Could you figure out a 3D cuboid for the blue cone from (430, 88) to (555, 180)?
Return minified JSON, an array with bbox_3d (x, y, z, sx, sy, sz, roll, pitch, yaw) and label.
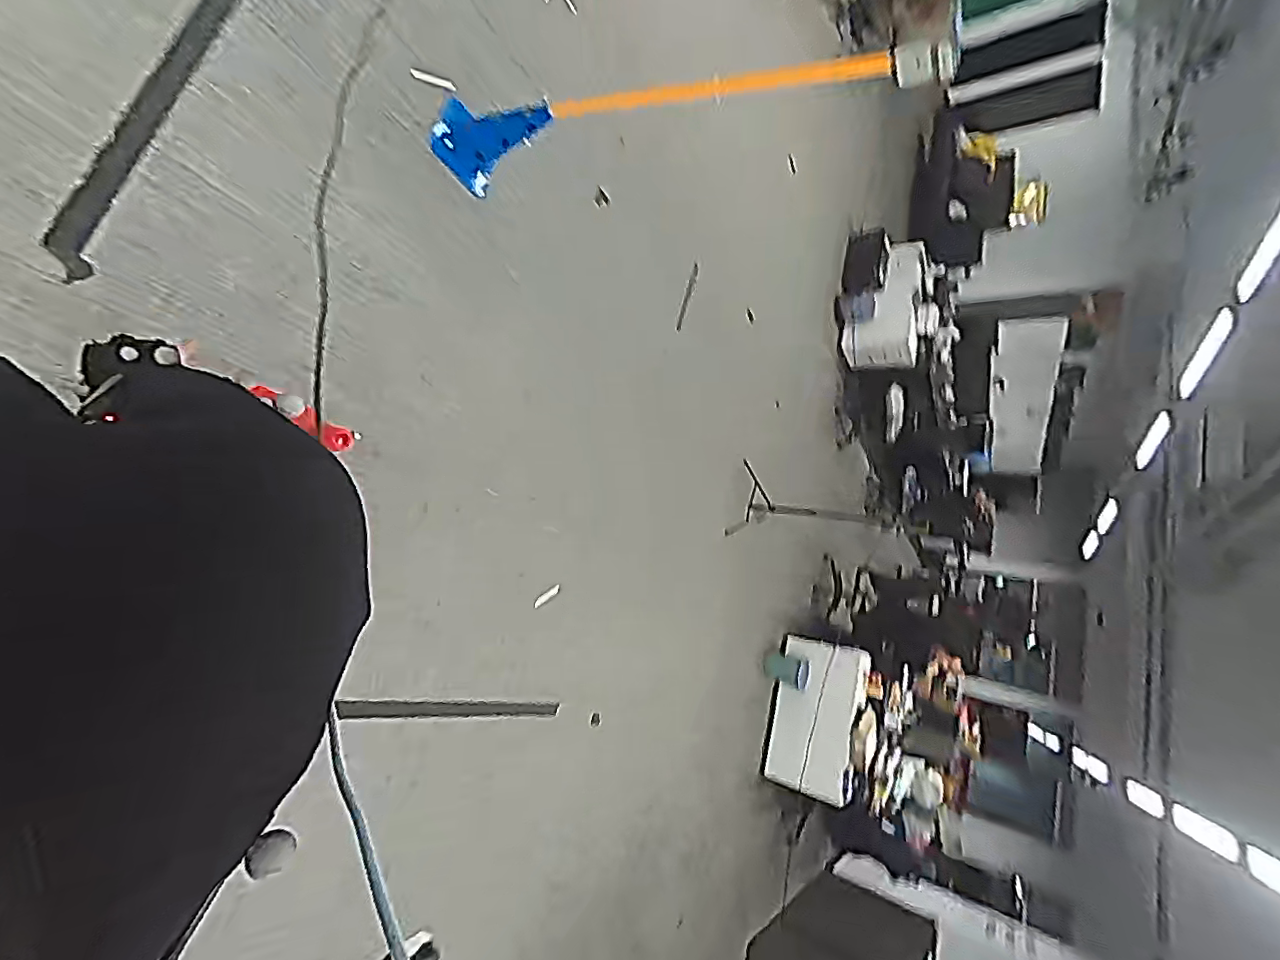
[{"bbox_3d":[-0.390,-1.005,1.508,0.193,0.380,0.192,38,63,-51],"label":"blue cone"}]
